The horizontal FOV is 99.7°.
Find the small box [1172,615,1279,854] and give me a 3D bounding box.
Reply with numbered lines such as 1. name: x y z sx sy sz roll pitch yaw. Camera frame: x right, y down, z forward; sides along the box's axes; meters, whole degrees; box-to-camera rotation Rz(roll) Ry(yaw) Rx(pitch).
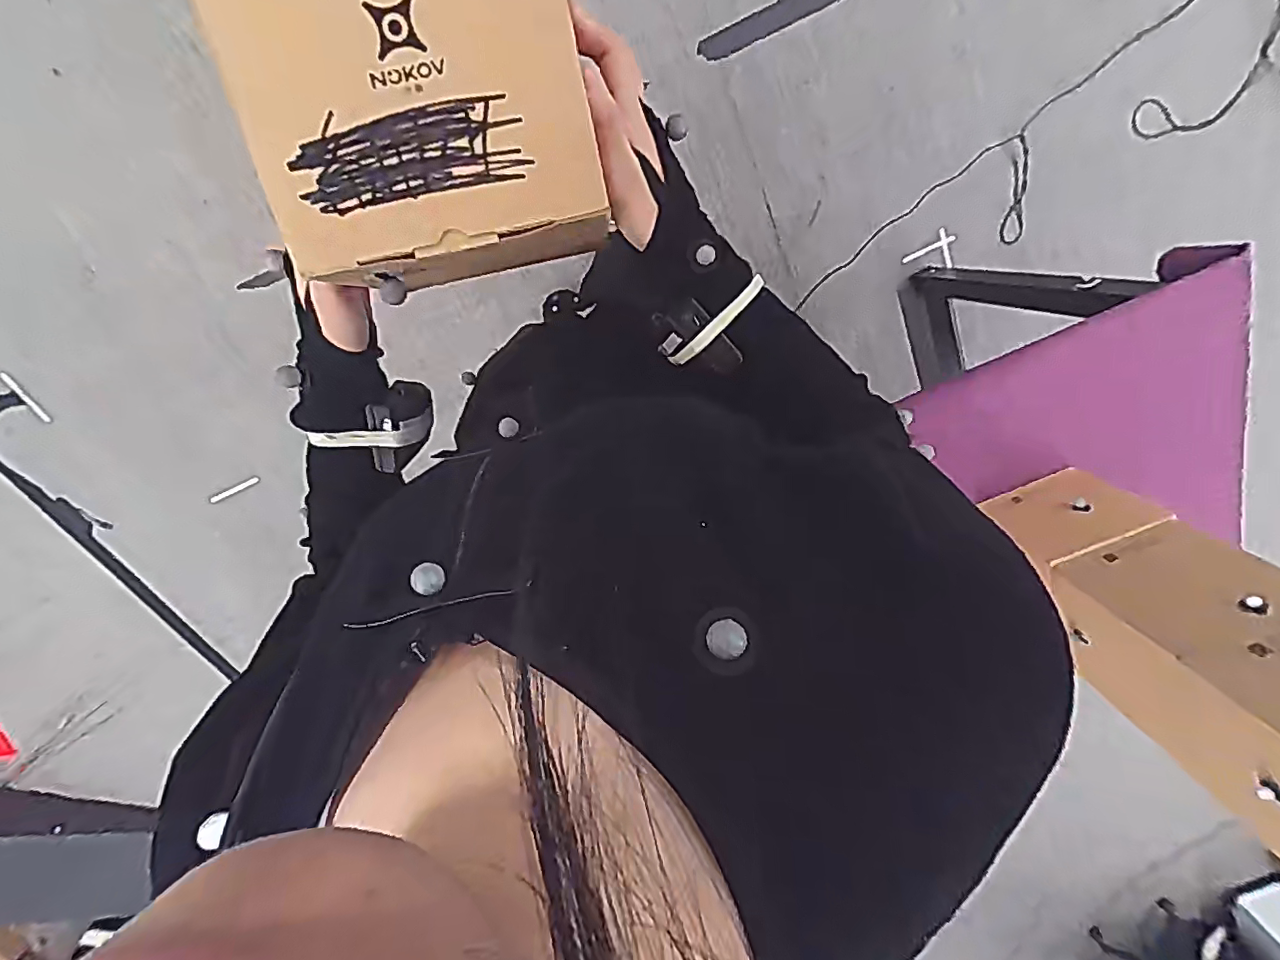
1. small box: 0.648 0.247 0.498 0.168 0.176 0.179 -23 113 5

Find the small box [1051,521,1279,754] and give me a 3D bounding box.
1. small box: 0.638 0.180 0.649 0.168 0.176 0.179 -24 115 5

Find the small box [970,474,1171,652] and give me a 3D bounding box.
1. small box: 0.620 0.109 0.796 0.168 0.176 0.179 -23 114 5
